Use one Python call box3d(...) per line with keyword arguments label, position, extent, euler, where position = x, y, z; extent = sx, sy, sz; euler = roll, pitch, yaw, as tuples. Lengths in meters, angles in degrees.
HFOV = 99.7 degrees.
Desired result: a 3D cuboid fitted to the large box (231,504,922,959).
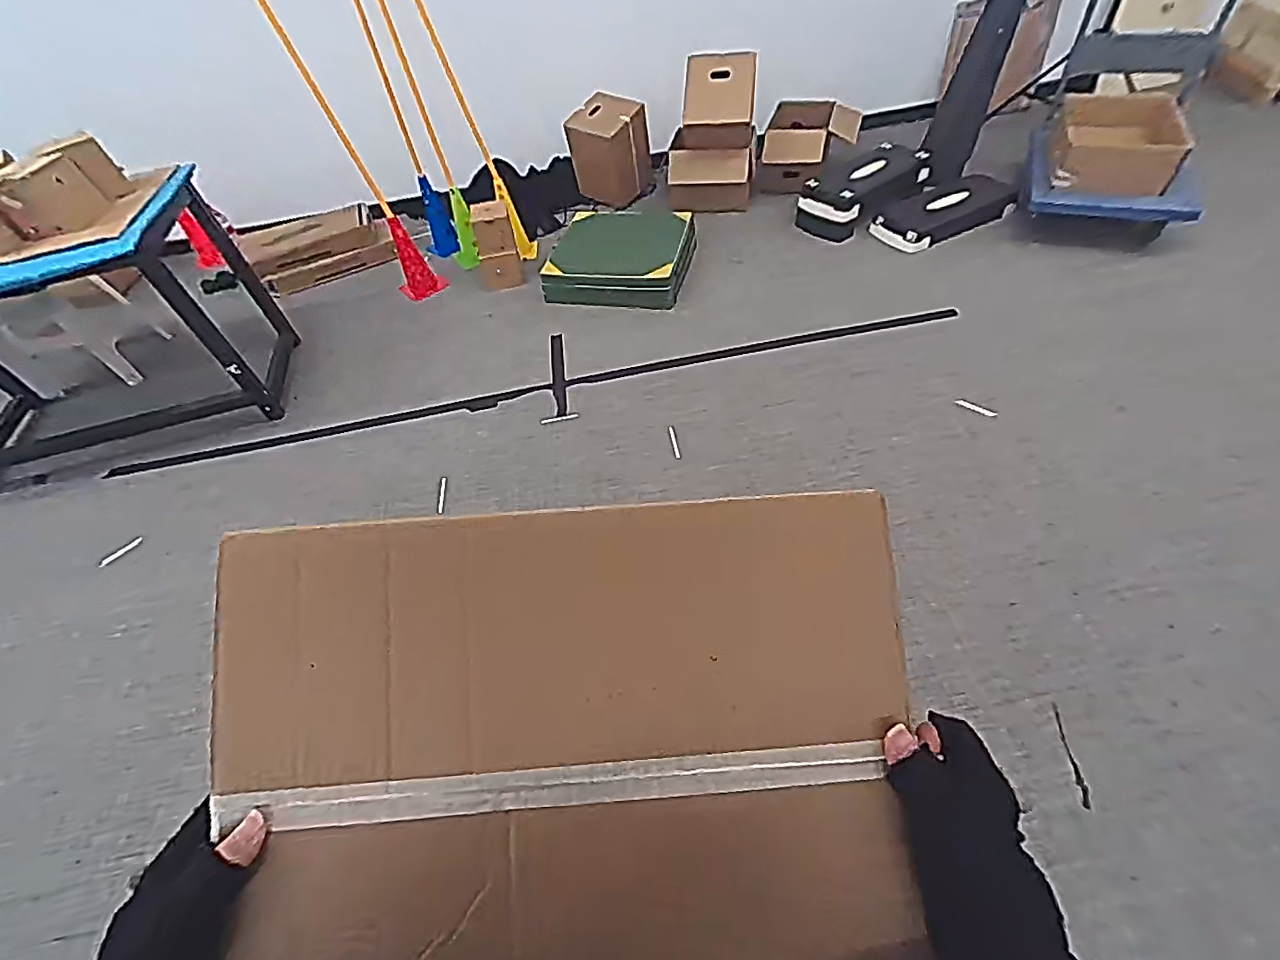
box3d(label="large box", position=(-0.042, 0.201, 0.473), extent=(0.408, 0.320, 0.320), euler=(-4, 82, -2))
